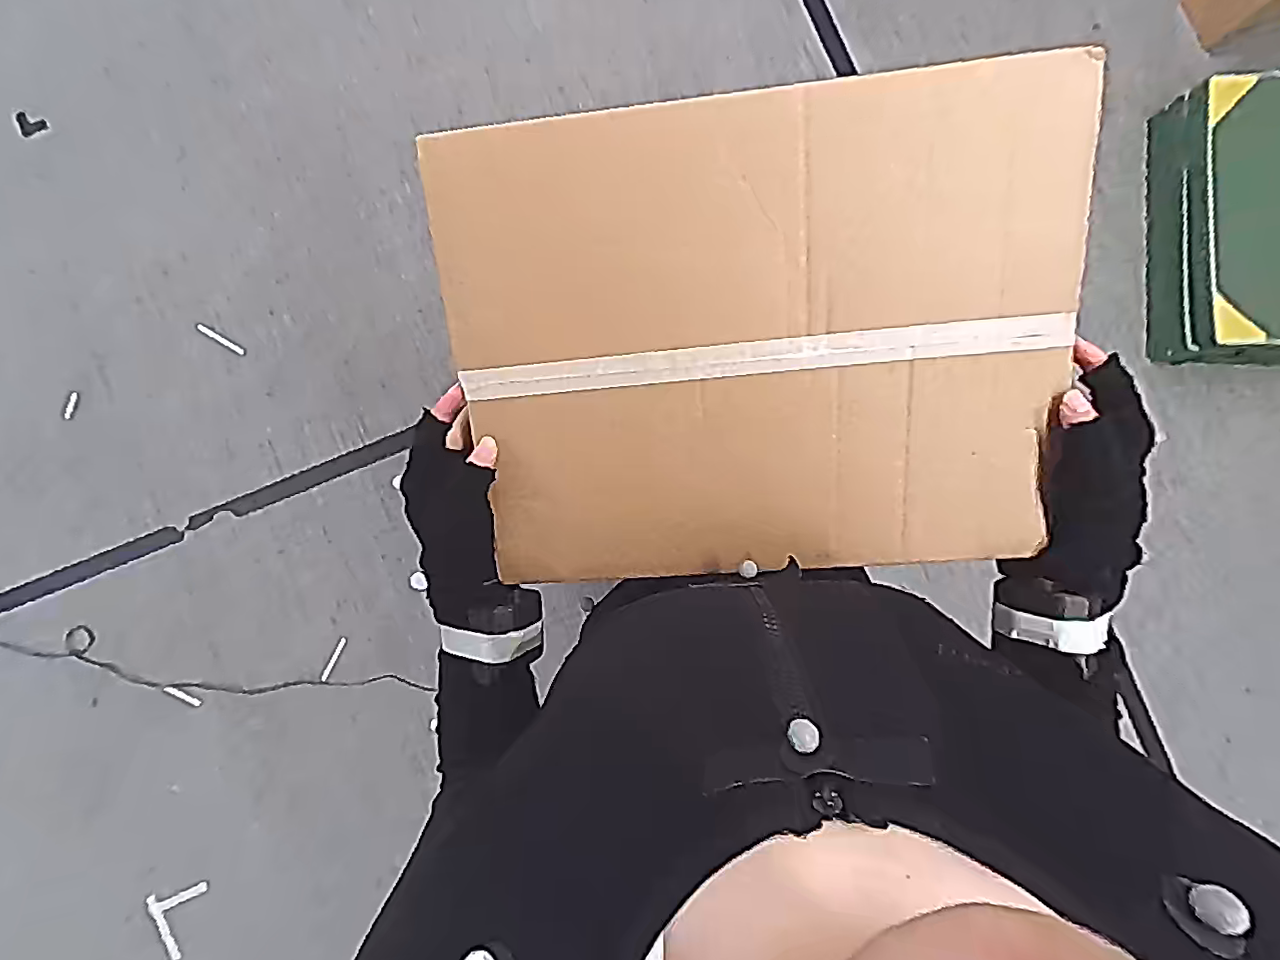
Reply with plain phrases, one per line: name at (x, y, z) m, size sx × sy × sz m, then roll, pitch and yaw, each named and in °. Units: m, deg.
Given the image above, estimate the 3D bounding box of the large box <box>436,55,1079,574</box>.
large box at (0.085, -0.126, 0.516) m, size 0.408 × 0.320 × 0.320 m, roll -4°, pitch 106°, yaw 5°
